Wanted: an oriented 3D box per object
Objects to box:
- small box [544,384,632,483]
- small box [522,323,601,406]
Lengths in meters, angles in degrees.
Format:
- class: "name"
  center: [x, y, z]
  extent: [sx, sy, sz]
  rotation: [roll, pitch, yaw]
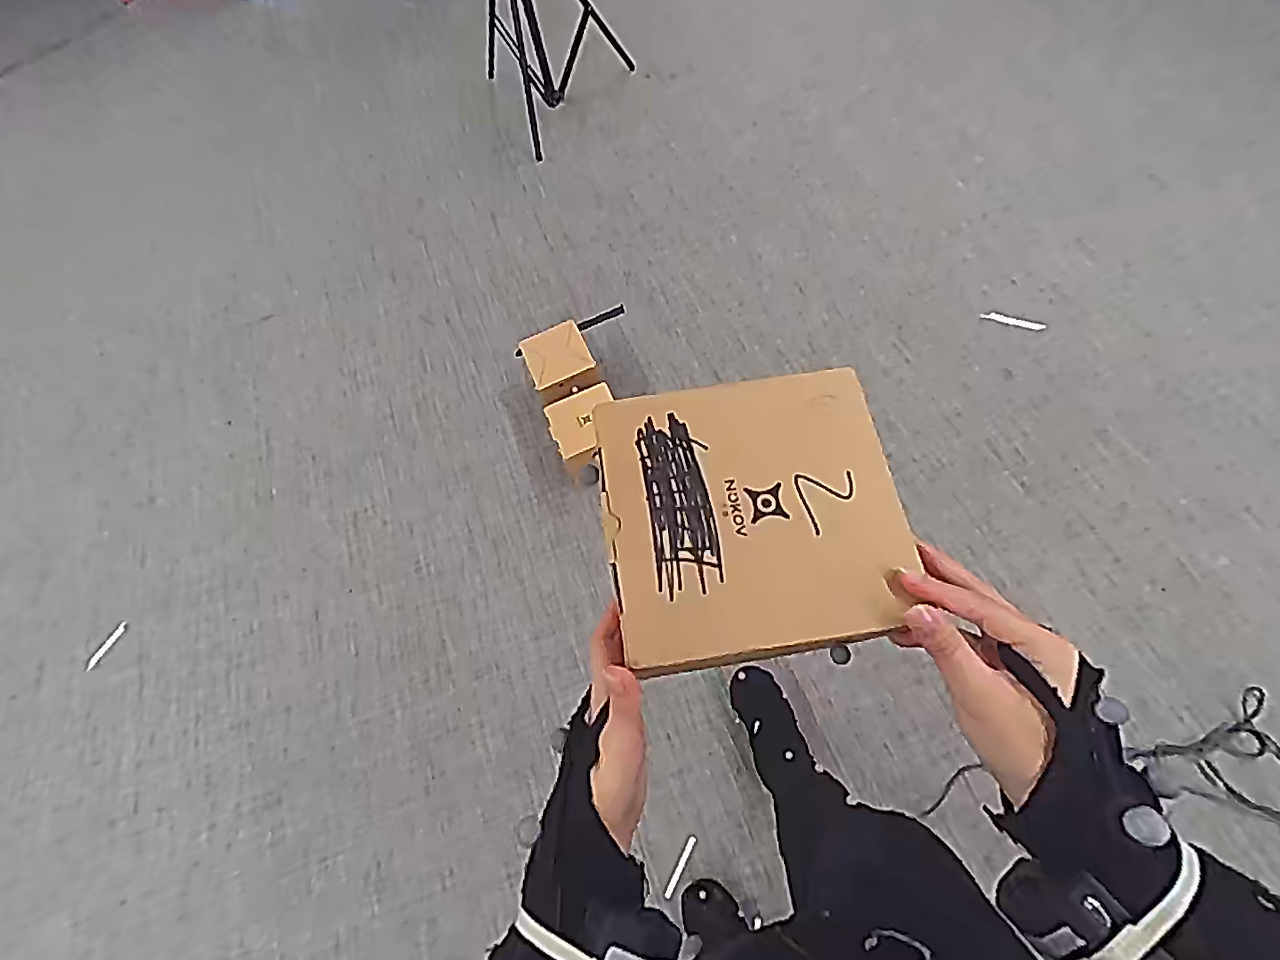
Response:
- class: "small box"
  center: [-0.128, -0.118, 1.424]
  extent: [0.179, 0.176, 0.168]
  rotation: [-23, 66, -2]
- class: "small box"
  center: [-0.215, -0.305, 1.511]
  extent: [0.168, 0.176, 0.179]
  rotation: [-25, 66, -3]
